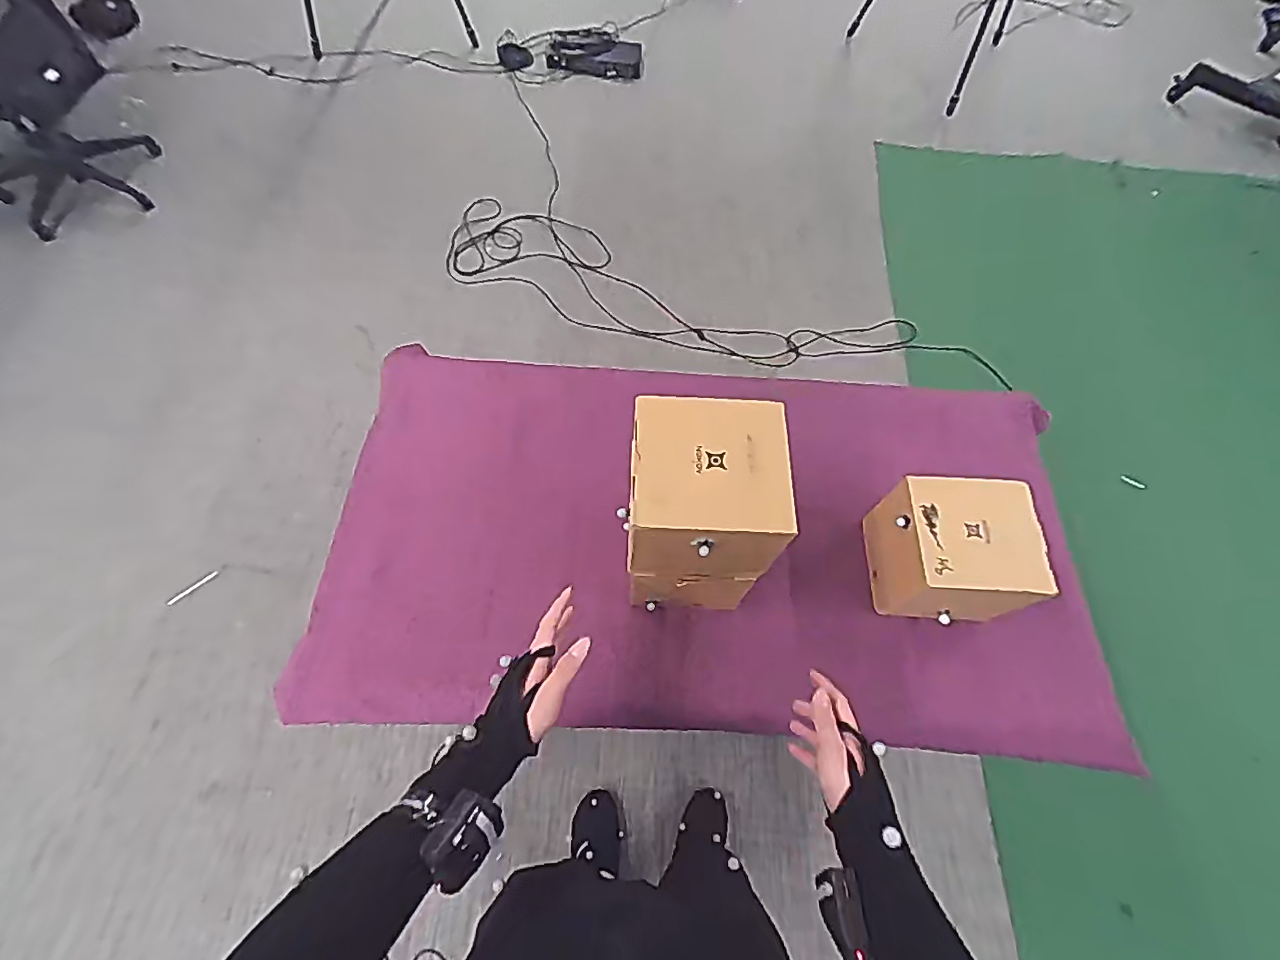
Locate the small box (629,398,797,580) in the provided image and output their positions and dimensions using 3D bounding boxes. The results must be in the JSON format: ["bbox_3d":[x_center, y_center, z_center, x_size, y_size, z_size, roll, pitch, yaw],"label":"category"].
[{"bbox_3d":[0.077,0.018,0.661,0.179,0.176,0.168,3,64,-1],"label":"small box"}]

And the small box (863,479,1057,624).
[{"bbox_3d":[0.461,0.114,0.811,0.179,0.176,0.168,4,63,0],"label":"small box"}]

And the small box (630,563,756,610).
[{"bbox_3d":[0.071,0.089,0.807,0.168,0.176,0.179,3,62,-1],"label":"small box"}]
